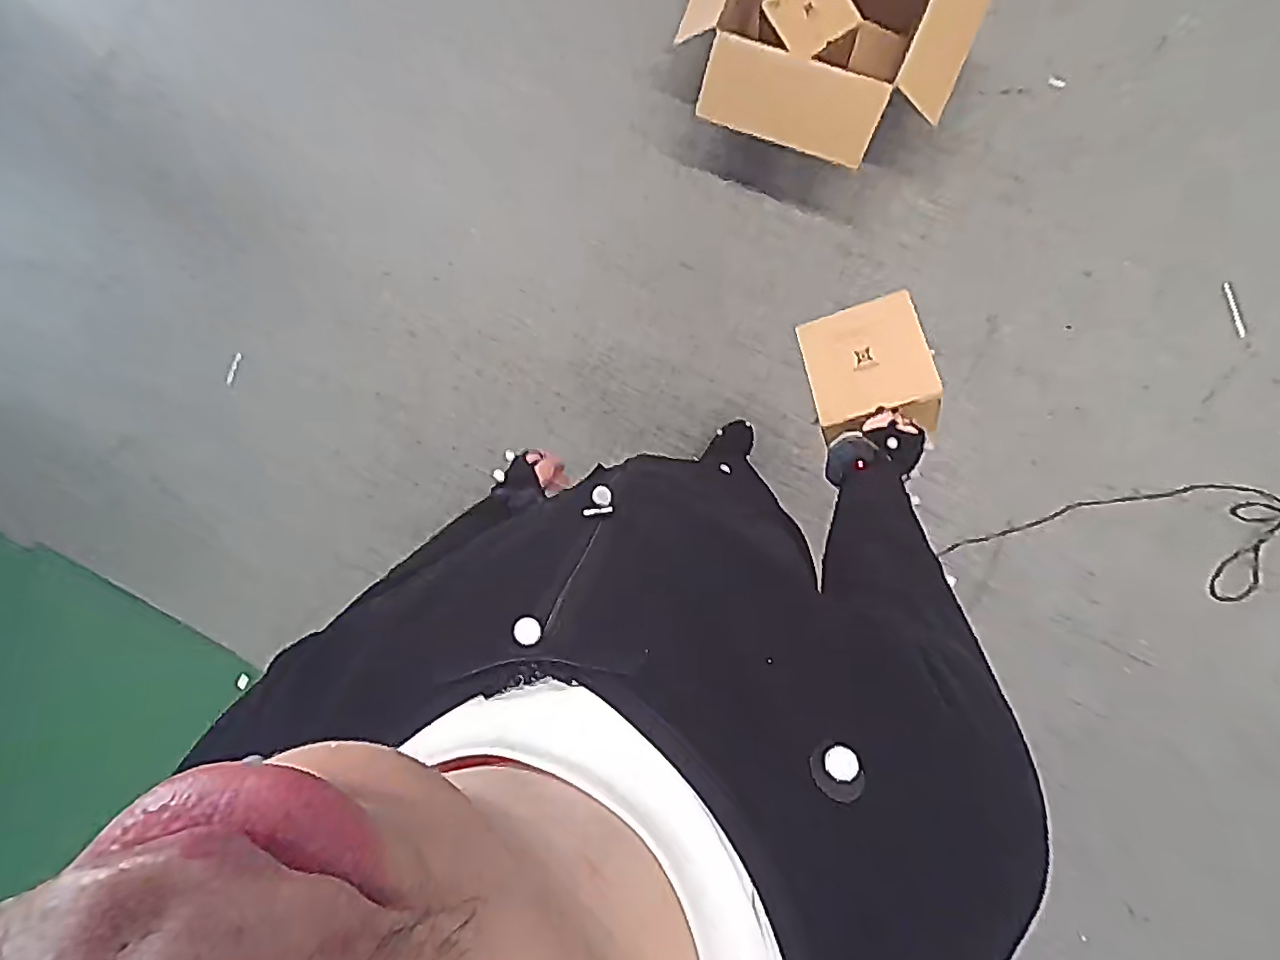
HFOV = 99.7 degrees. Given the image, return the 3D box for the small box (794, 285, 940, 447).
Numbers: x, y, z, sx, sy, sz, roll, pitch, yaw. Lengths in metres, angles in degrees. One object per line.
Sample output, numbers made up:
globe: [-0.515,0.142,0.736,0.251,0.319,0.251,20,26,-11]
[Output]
small box: [0.355,-0.165,0.857,0.168,0.176,0.179,-16,68,18]
